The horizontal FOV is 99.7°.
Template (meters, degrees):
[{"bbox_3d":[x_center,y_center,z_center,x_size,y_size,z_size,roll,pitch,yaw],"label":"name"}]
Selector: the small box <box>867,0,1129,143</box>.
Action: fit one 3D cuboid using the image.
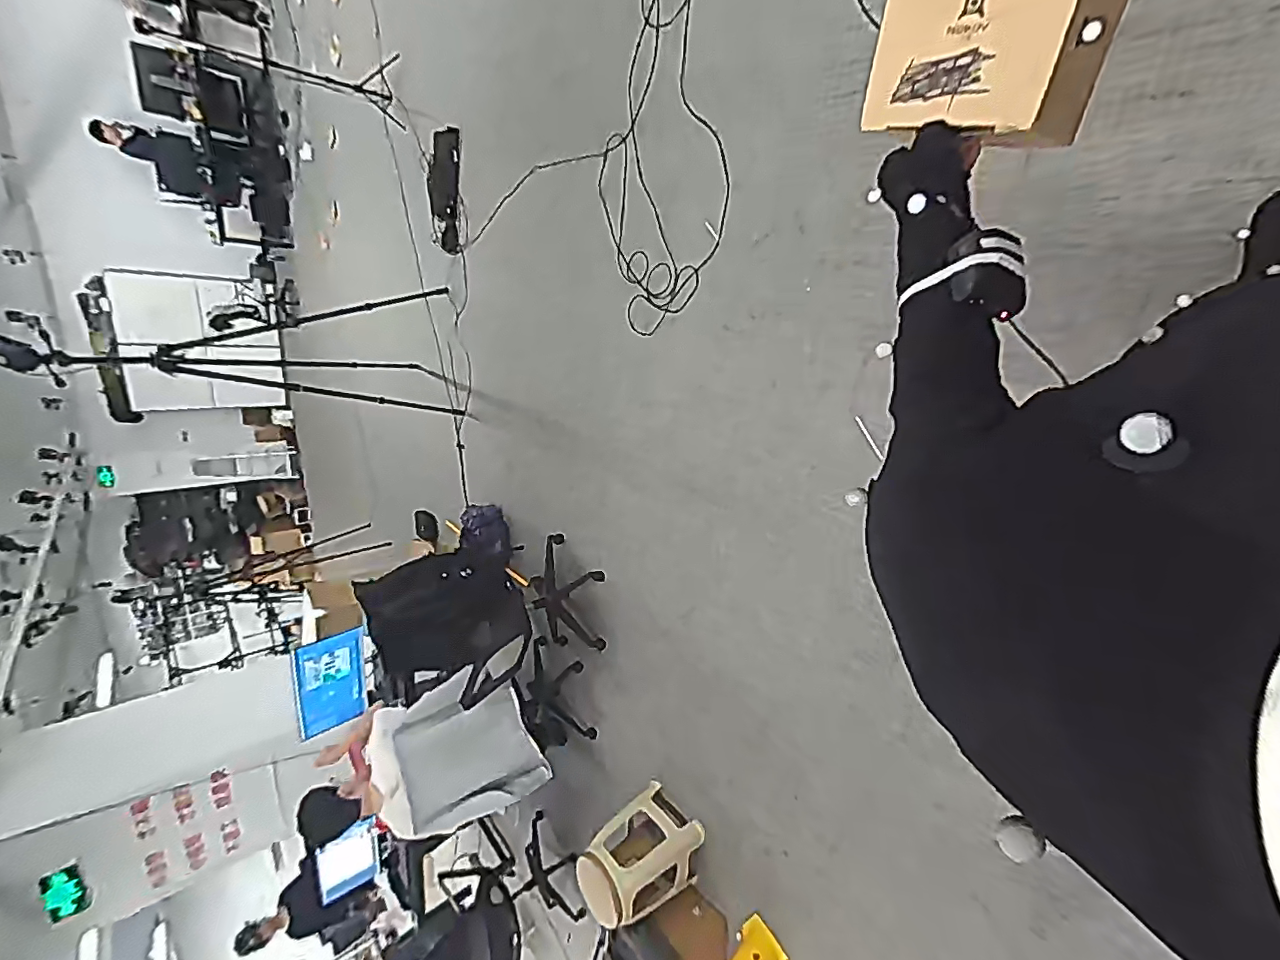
[{"bbox_3d":[0.363,-0.447,0.542,0.168,0.176,0.179,29,127,37],"label":"small box"}]
